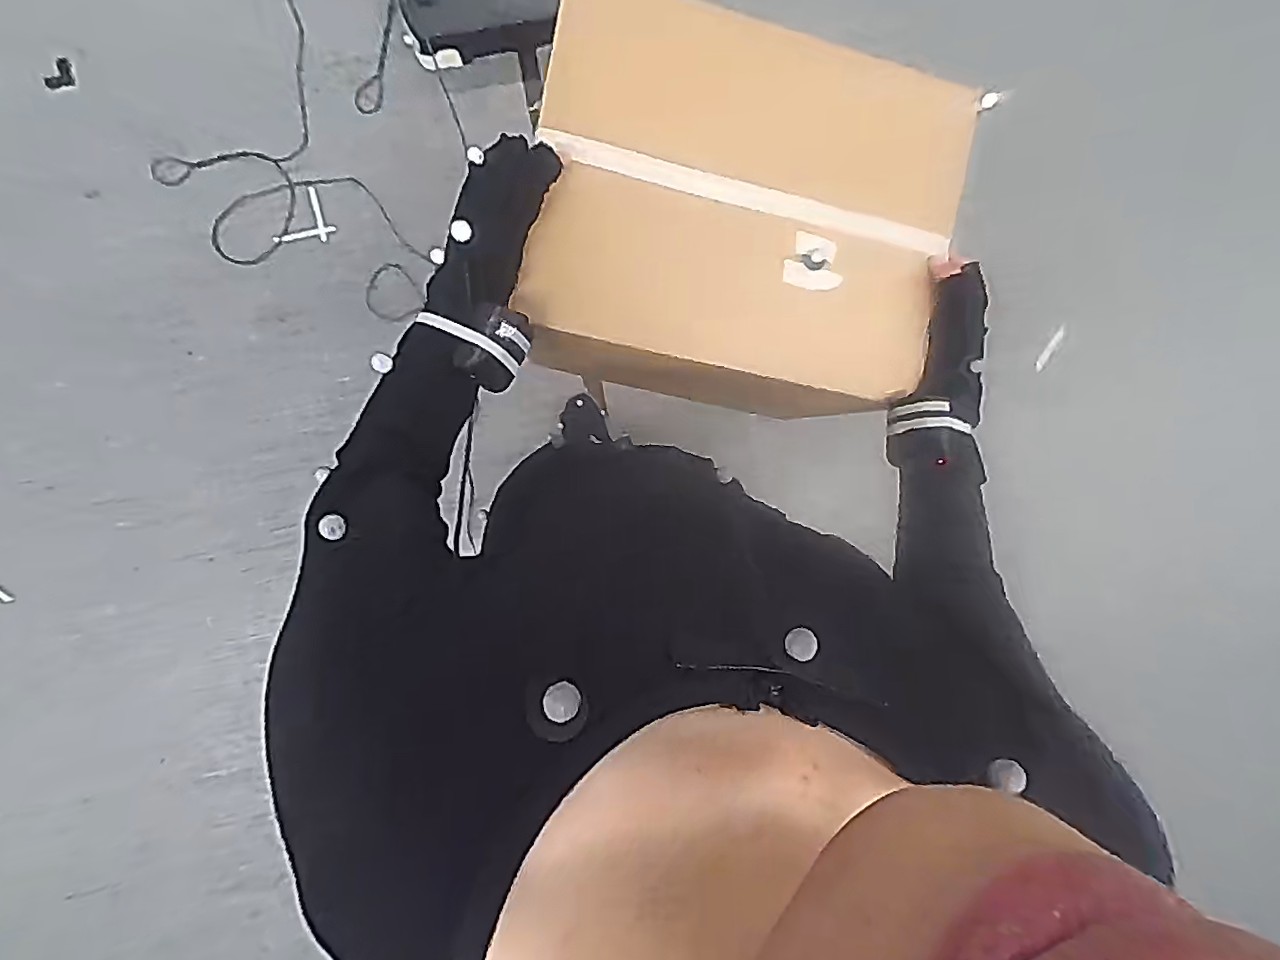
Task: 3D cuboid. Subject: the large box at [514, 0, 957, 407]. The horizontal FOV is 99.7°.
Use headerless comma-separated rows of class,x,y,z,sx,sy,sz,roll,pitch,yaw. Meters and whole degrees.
large box,0.079,-0.283,0.661,0.408,0.320,0.320,10,93,-9
